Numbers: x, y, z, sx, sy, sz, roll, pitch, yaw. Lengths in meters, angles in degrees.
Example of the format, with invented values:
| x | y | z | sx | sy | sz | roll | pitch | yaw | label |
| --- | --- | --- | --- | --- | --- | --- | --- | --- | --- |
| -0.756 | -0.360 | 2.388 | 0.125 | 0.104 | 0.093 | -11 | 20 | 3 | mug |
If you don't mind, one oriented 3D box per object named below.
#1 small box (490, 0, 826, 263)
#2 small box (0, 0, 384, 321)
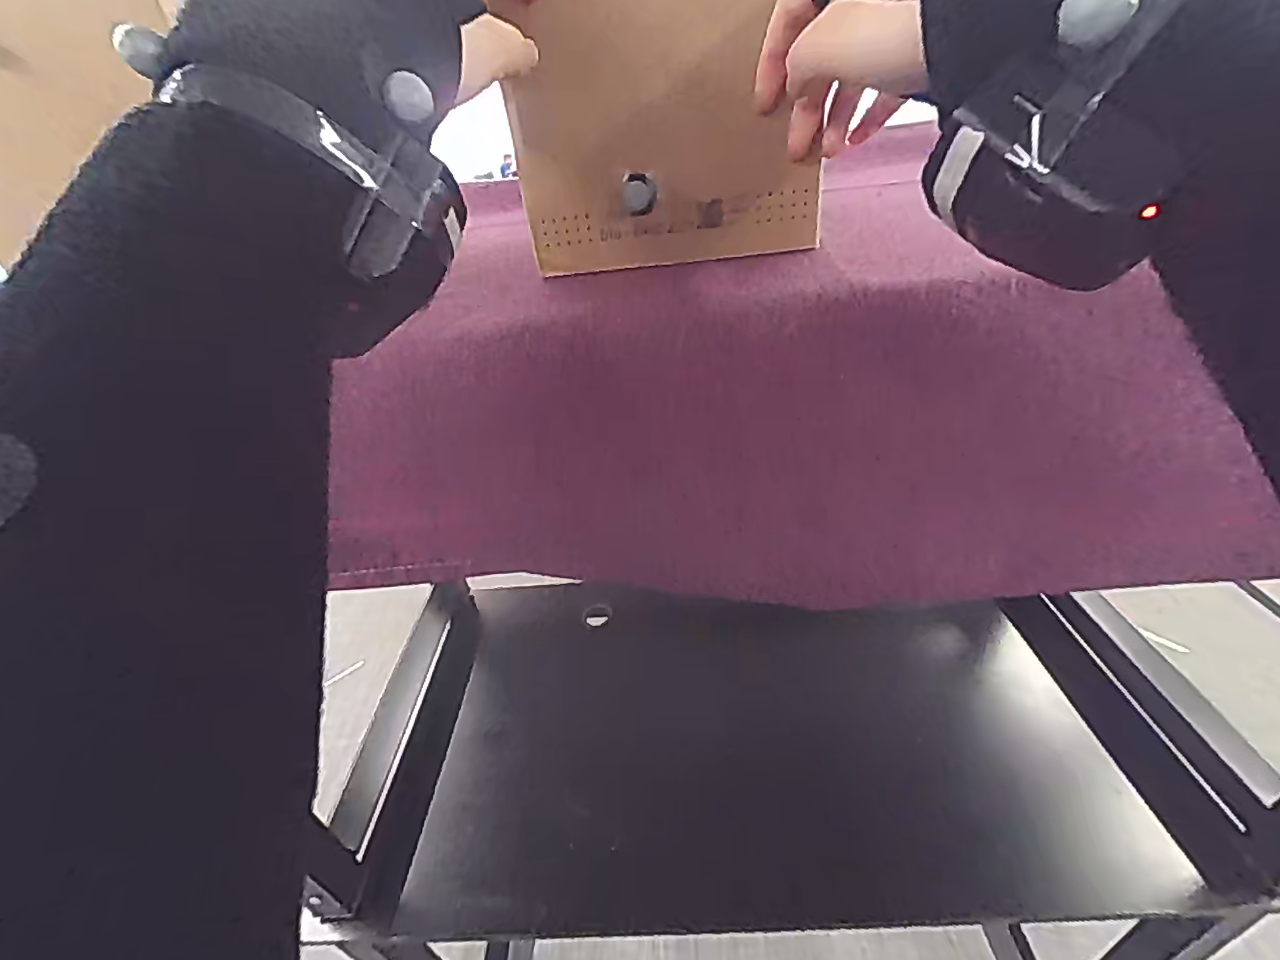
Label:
| x | y | z | sx | sy | sz | roll | pitch | yaw | label |
| --- | --- | --- | --- | --- | --- | --- | --- | --- | --- |
| 0.014 | -0.246 | 0.342 | 0.168 | 0.176 | 0.179 | -4 | 34 | 7 | small box |
| -0.300 | -0.217 | 0.363 | 0.168 | 0.176 | 0.179 | -6 | 33 | 3 | small box |
